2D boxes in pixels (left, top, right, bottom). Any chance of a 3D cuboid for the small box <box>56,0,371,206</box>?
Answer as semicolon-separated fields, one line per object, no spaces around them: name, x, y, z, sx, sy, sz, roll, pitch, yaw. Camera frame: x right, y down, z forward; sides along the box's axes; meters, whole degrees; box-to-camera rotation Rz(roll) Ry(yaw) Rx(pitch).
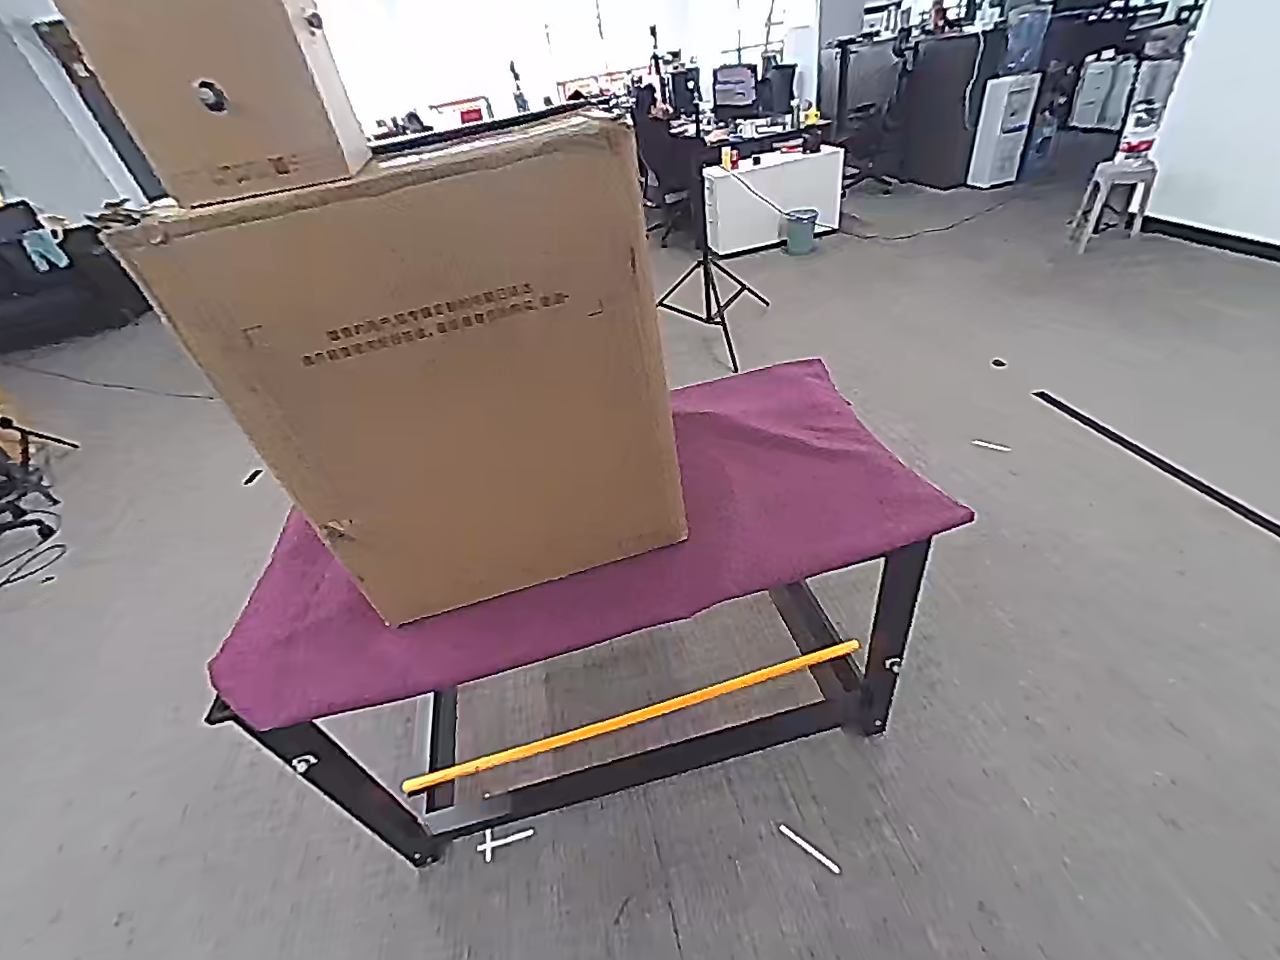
small box;-0.394;-0.389;0.545;0.168;0.176;0.179;-15;39;-8
